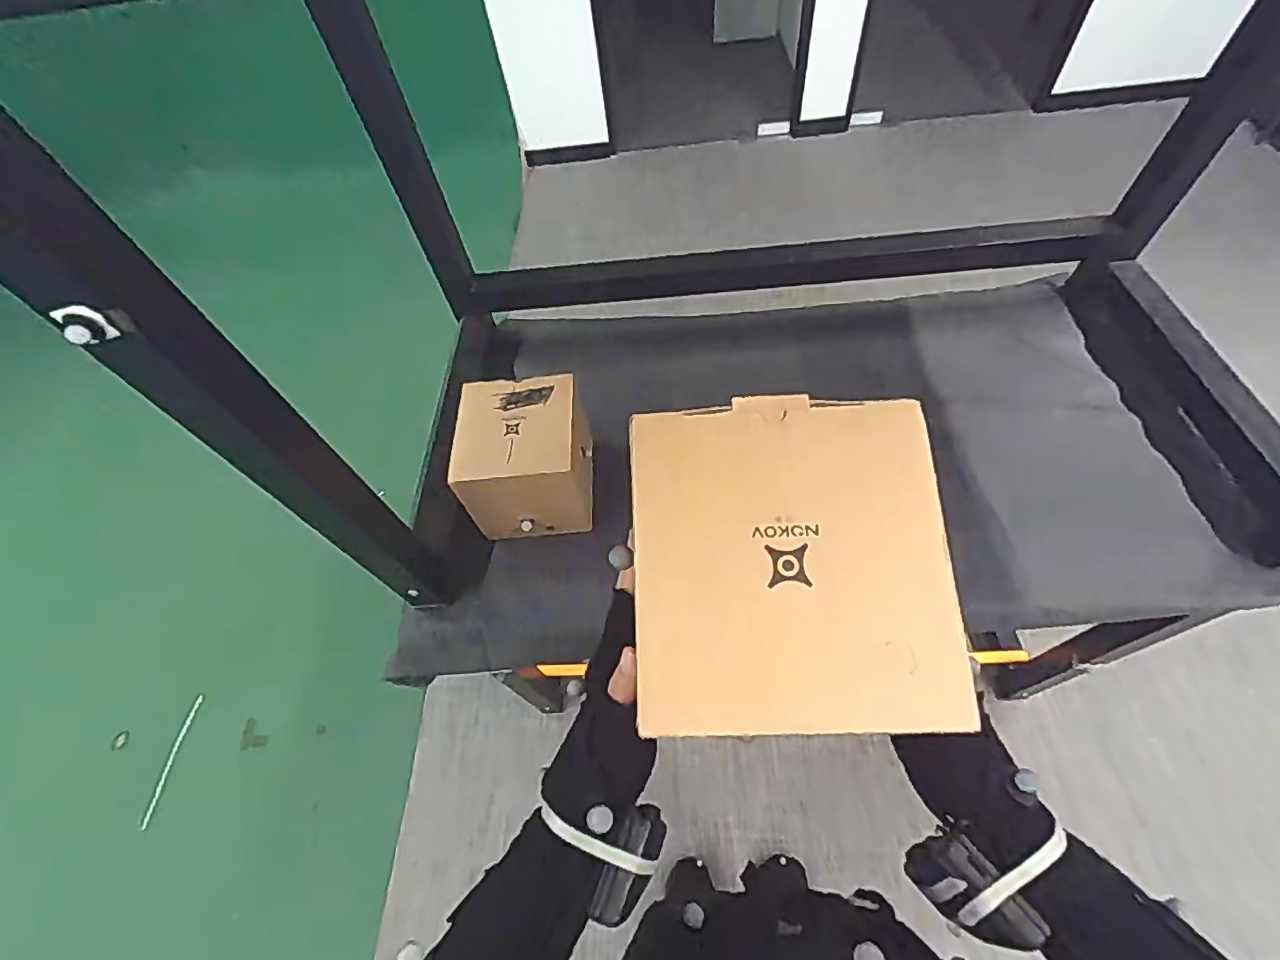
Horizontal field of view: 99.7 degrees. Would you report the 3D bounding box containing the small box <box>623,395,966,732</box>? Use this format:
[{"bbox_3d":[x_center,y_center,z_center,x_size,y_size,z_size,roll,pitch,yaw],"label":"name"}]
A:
[{"bbox_3d":[0.081,0.062,0.365,0.168,0.176,0.179,-3,72,4],"label":"small box"}]

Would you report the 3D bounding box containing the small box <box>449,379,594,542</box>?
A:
[{"bbox_3d":[-0.164,-0.026,0.810,0.168,0.176,0.179,-5,56,3],"label":"small box"}]
